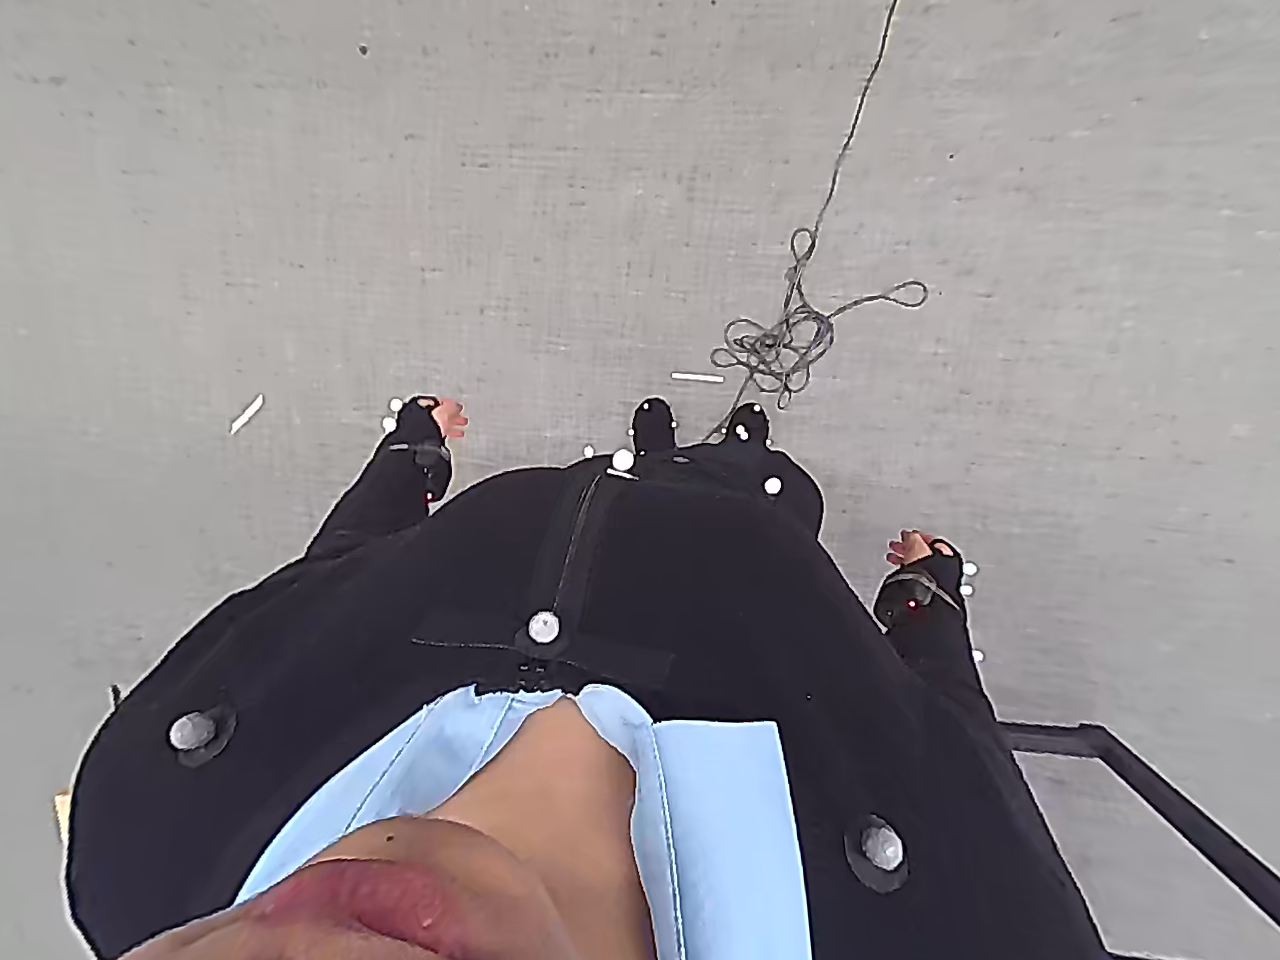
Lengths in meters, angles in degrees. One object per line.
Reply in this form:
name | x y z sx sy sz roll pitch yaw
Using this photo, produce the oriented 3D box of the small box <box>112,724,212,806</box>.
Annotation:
small box | -1.520 0.908 1.736 0.179 0.176 0.168 1 100 6
